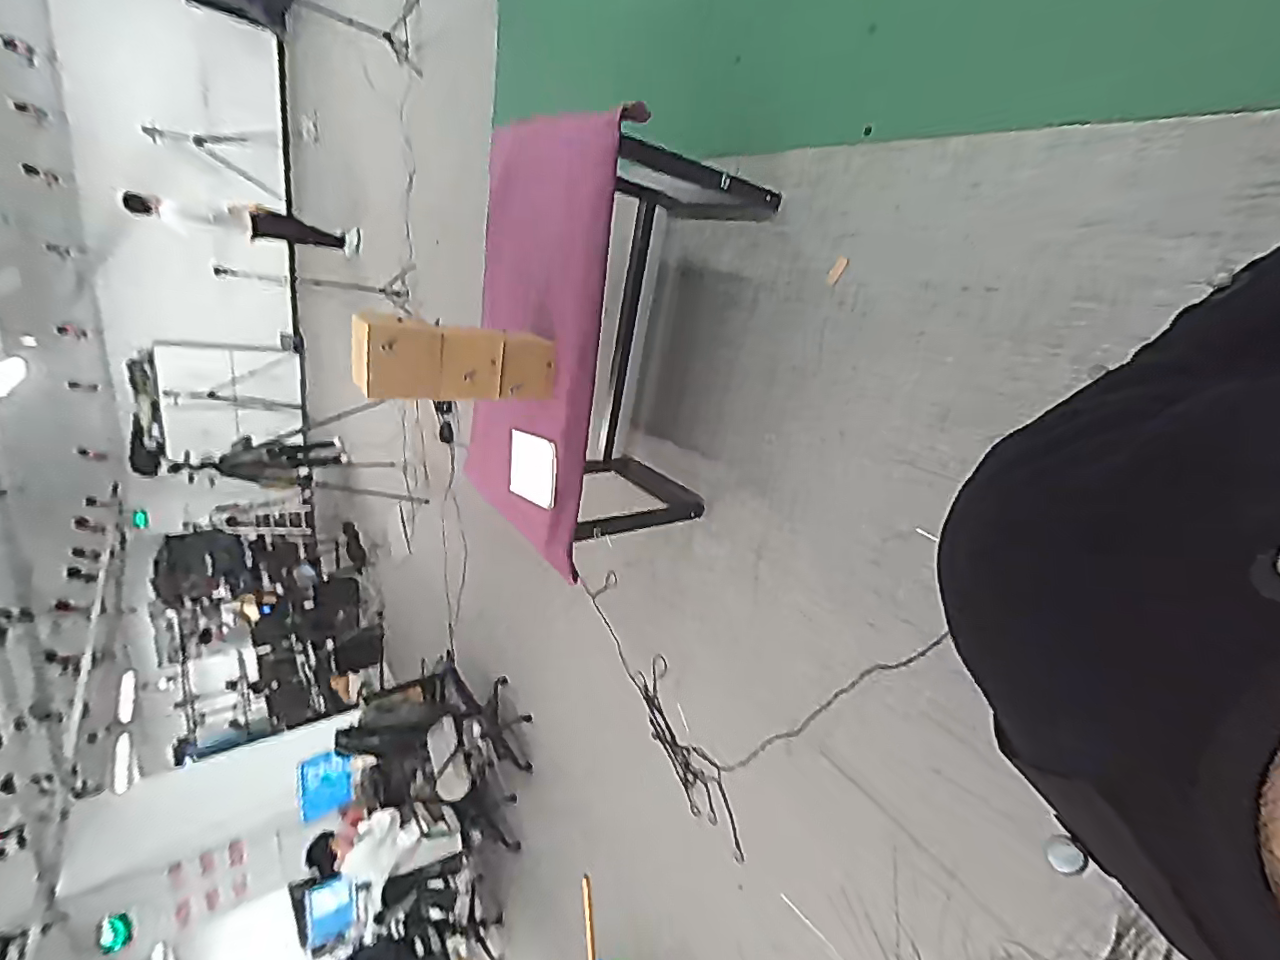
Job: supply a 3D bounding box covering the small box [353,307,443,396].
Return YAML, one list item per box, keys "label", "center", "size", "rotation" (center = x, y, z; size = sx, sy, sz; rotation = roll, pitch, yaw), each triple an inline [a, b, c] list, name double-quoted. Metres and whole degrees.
- label: "small box"
  center: [-0.600, -0.318, 1.344]
  size: [0.168, 0.176, 0.179]
  rotation: [36, 123, 44]

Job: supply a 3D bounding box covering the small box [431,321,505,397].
- label: "small box"
  center: [-0.477, -0.328, 1.454]
  size: [0.179, 0.176, 0.168]
  rotation: [33, 121, 45]
